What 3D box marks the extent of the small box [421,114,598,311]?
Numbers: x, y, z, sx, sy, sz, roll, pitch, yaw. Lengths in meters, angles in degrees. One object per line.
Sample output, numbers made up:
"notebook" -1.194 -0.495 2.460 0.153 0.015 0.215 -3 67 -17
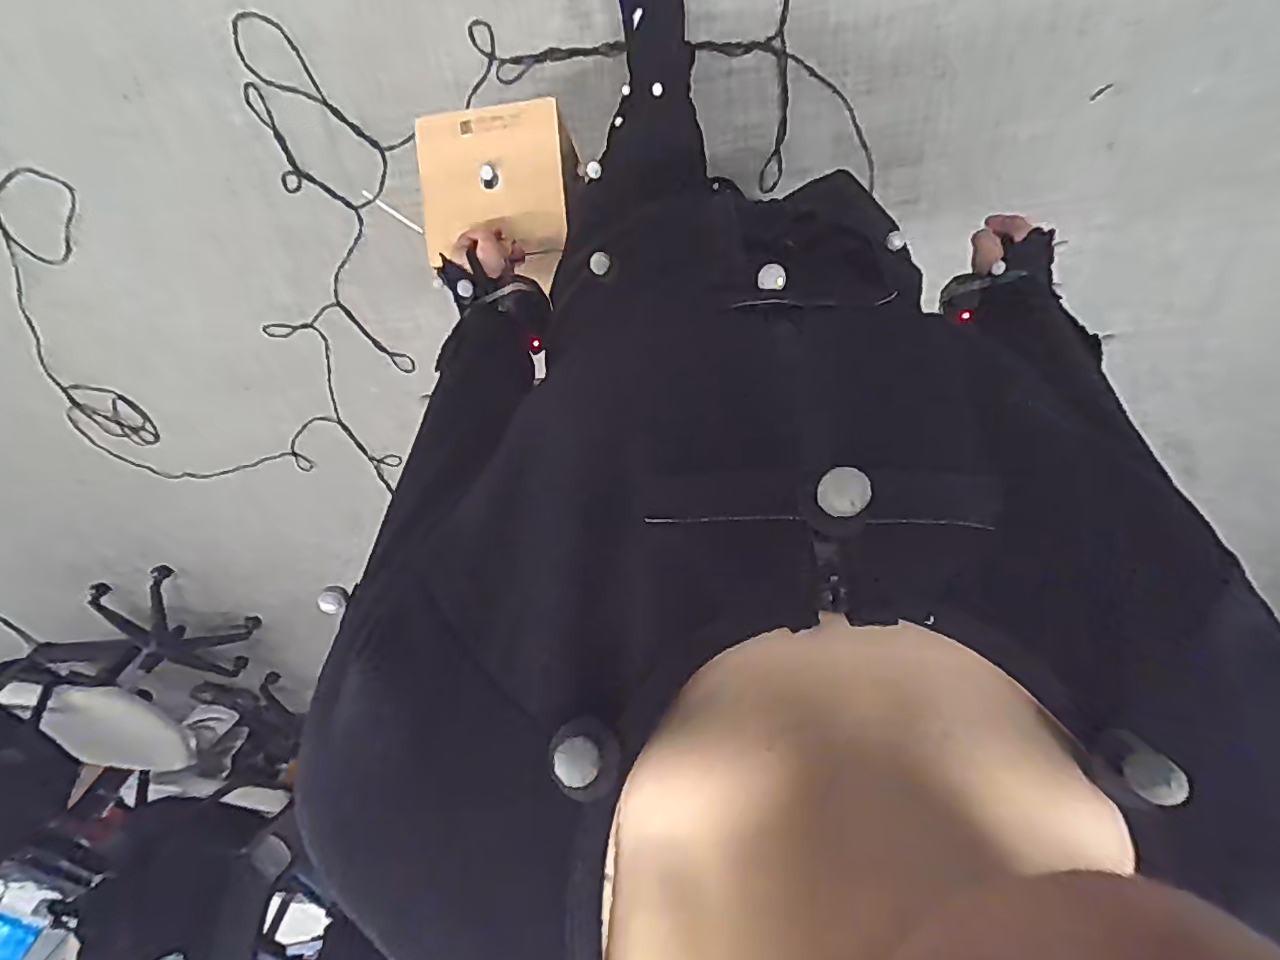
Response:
"small box" -0.157 -0.334 0.690 0.168 0.179 0.176 -6 92 7
